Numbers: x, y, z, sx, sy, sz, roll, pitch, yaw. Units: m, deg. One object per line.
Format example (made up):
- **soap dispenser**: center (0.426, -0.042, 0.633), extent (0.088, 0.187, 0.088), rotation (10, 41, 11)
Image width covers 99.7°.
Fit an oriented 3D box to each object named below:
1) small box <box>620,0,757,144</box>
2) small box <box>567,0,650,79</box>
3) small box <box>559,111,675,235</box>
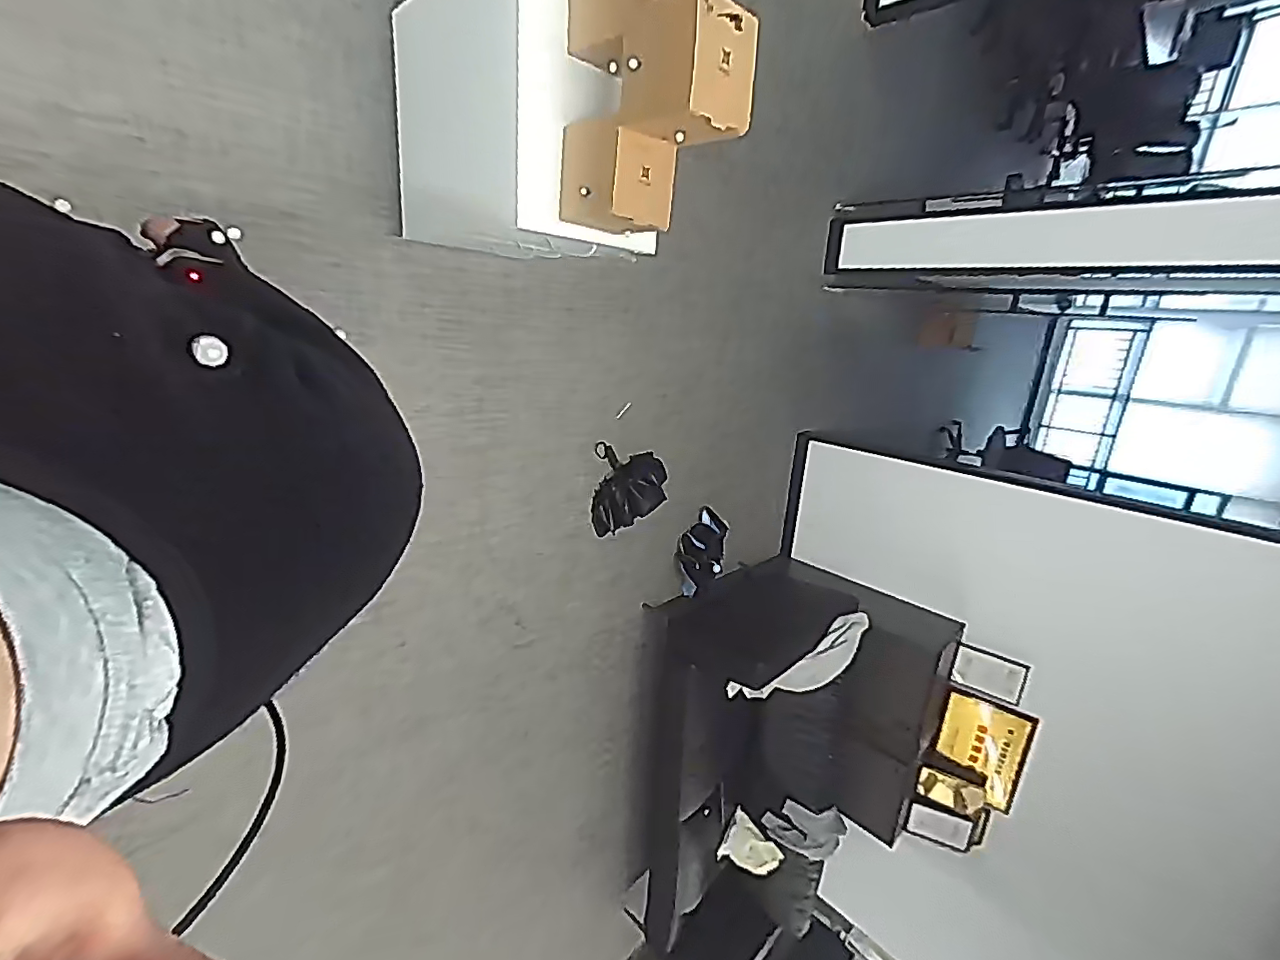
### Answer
- **small box**: center (0.080, -0.711, 0.949), extent (0.168, 0.176, 0.179), rotation (-16, 117, -43)
- **small box**: center (-0.023, -0.892, 1.013), extent (0.168, 0.176, 0.179), rotation (-15, 117, -43)
- **small box**: center (-0.050, -0.607, 1.098), extent (0.168, 0.176, 0.179), rotation (-12, 111, -45)
